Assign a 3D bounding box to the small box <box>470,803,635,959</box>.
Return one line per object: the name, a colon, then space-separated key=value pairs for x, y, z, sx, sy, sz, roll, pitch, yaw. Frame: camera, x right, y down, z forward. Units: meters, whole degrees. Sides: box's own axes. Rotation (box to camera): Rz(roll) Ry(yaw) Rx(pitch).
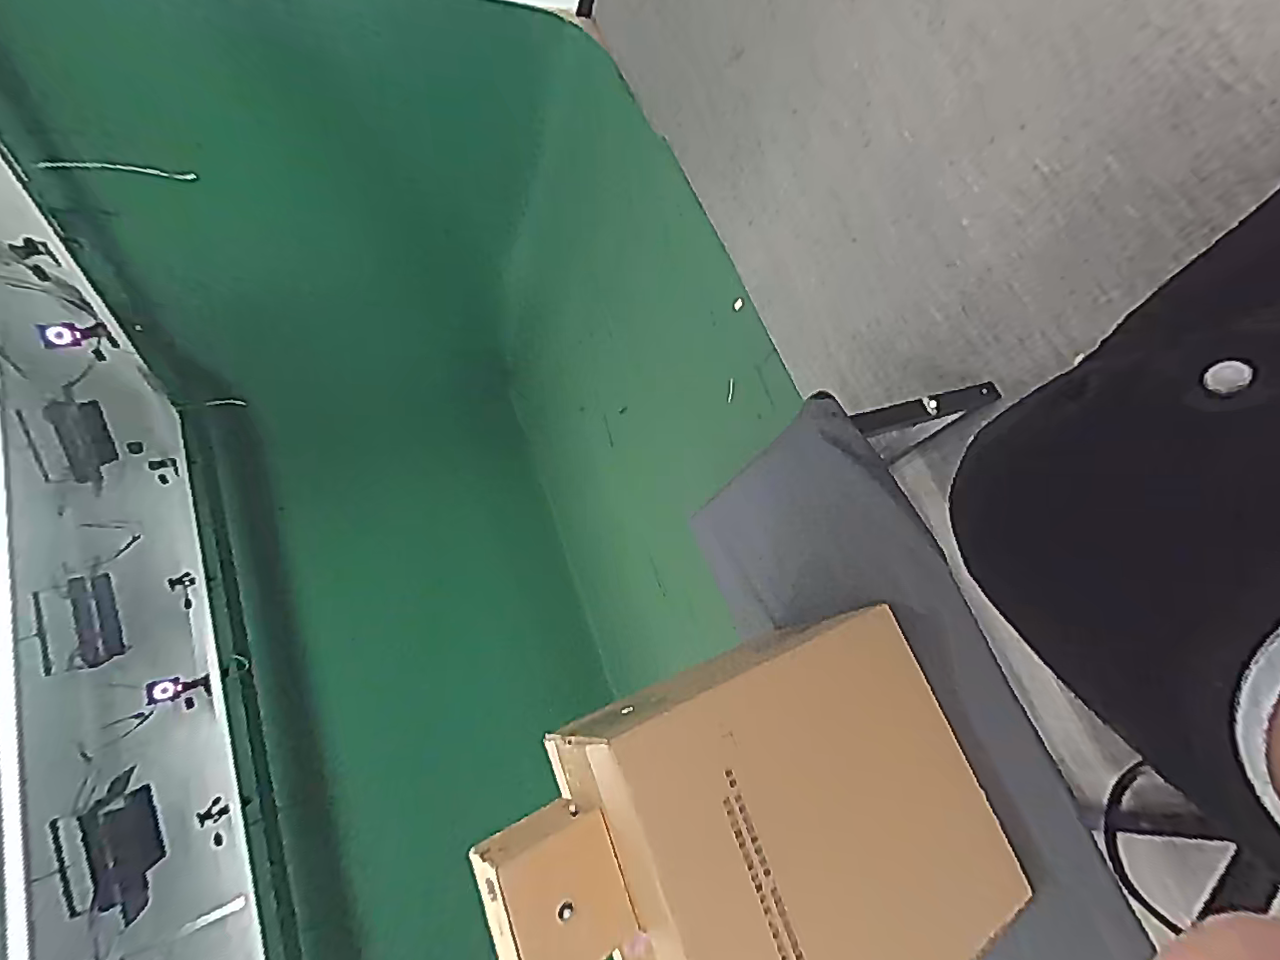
small box: x=-0.135 y=0.619 z=0.815 sx=0.168 sy=0.176 sz=0.179 roll=-41 pitch=67 yaw=53
